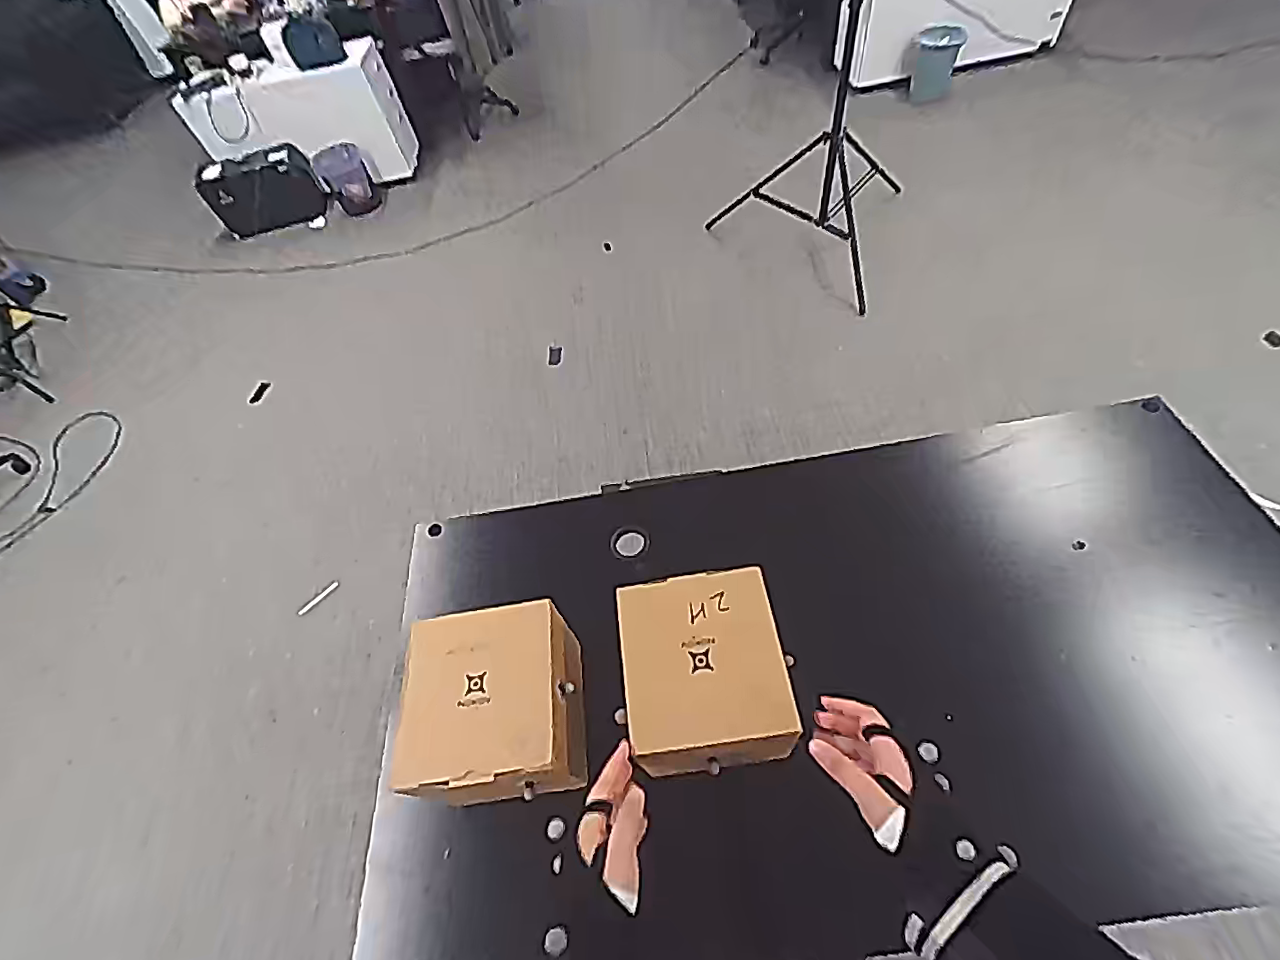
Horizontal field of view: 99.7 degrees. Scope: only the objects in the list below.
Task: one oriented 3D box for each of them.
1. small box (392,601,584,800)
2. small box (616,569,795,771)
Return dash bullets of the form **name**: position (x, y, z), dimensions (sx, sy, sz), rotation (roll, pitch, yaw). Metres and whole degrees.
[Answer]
- **small box**: position (-0.165, 0.267, 0.639), dimensions (0.168, 0.176, 0.179), rotation (-10, 53, 1)
- **small box**: position (0.071, 0.227, 0.625), dimensions (0.168, 0.176, 0.179), rotation (-9, 54, 2)
